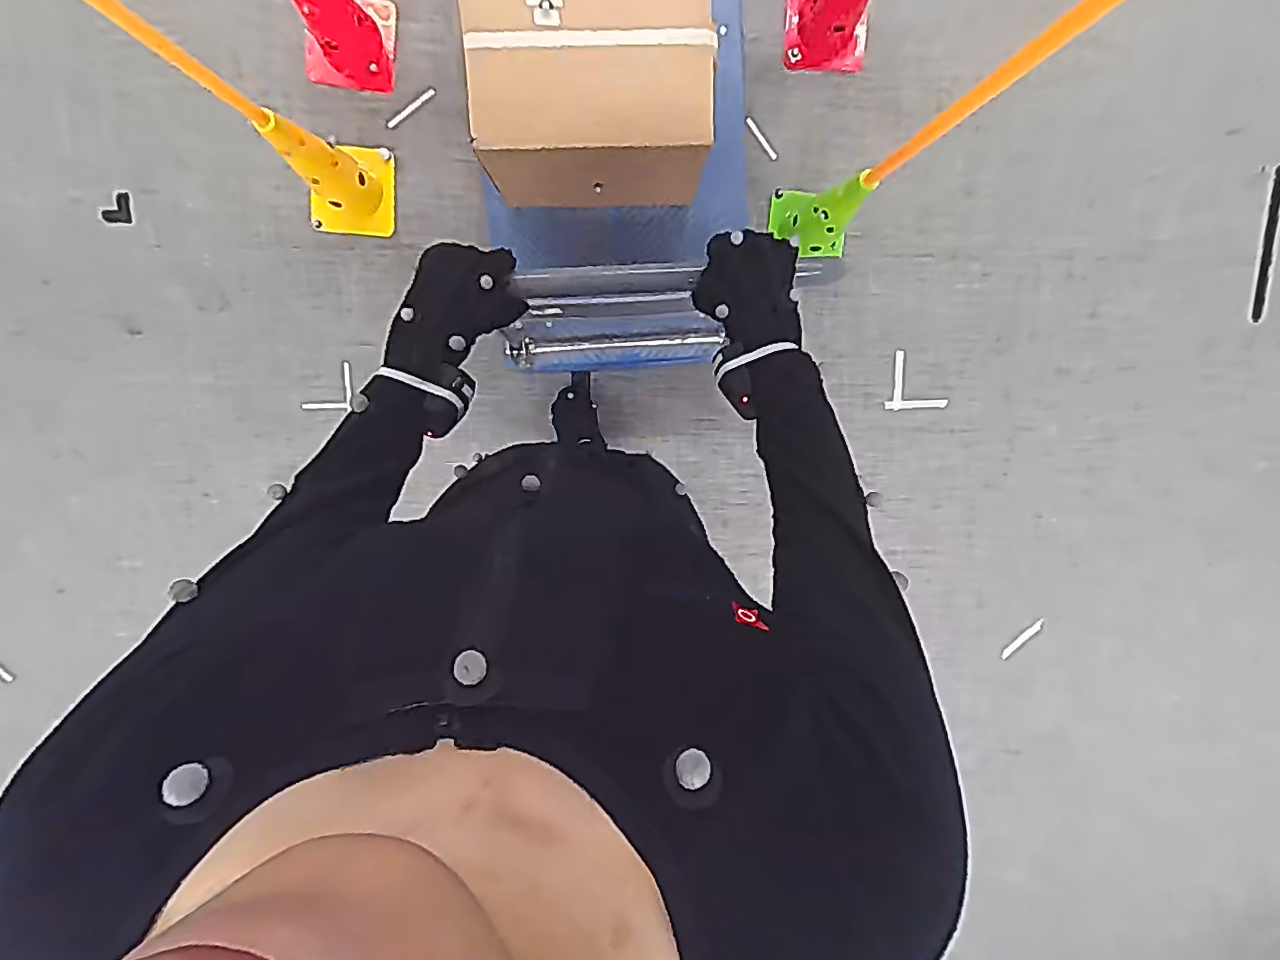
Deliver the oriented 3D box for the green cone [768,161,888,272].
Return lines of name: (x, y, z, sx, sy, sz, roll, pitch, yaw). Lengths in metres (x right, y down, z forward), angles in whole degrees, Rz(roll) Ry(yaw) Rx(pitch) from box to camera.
green cone: (0.441, -0.615, 1.212, 0.202, 0.368, 0.200, 4, 99, -4)

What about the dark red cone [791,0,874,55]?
dark red cone: (0.467, -1.091, 1.117, 0.201, 0.394, 0.202, 0, 100, -4)

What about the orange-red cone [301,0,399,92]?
orange-red cone: (-0.665, -1.010, 1.104, 0.198, 0.360, 0.199, 7, 98, -5)

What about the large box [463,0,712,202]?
large box: (-0.085, -0.742, 1.024, 0.408, 0.320, 0.320, -2, 100, -1)
